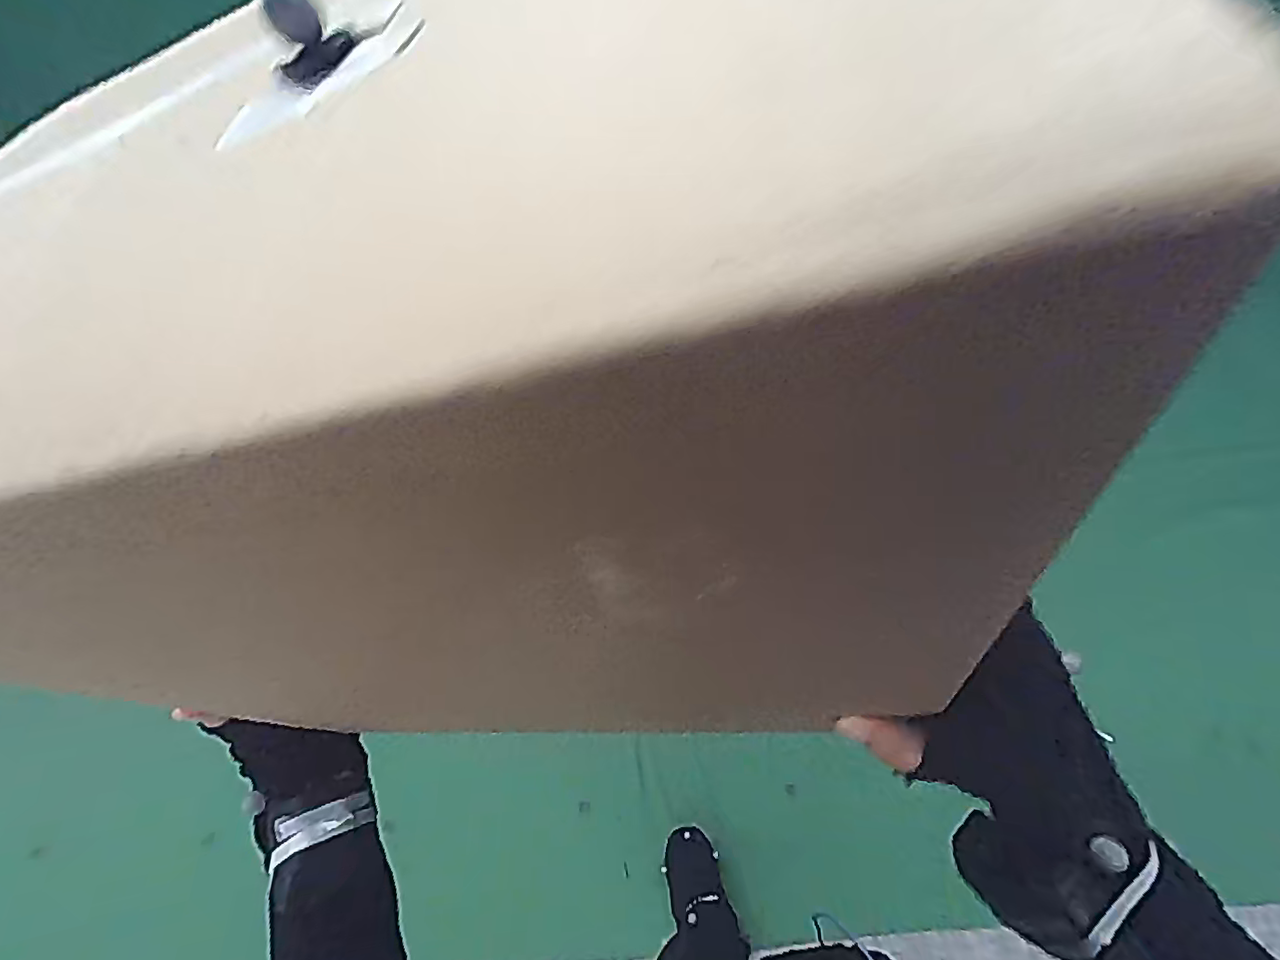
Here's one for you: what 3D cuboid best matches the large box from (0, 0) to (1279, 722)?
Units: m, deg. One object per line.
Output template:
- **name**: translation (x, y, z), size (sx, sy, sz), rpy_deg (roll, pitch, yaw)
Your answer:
- **large box**: translation (-0.068, -0.055, 0.307), size (0.408, 0.320, 0.320), rpy_deg (-9, 58, 16)
